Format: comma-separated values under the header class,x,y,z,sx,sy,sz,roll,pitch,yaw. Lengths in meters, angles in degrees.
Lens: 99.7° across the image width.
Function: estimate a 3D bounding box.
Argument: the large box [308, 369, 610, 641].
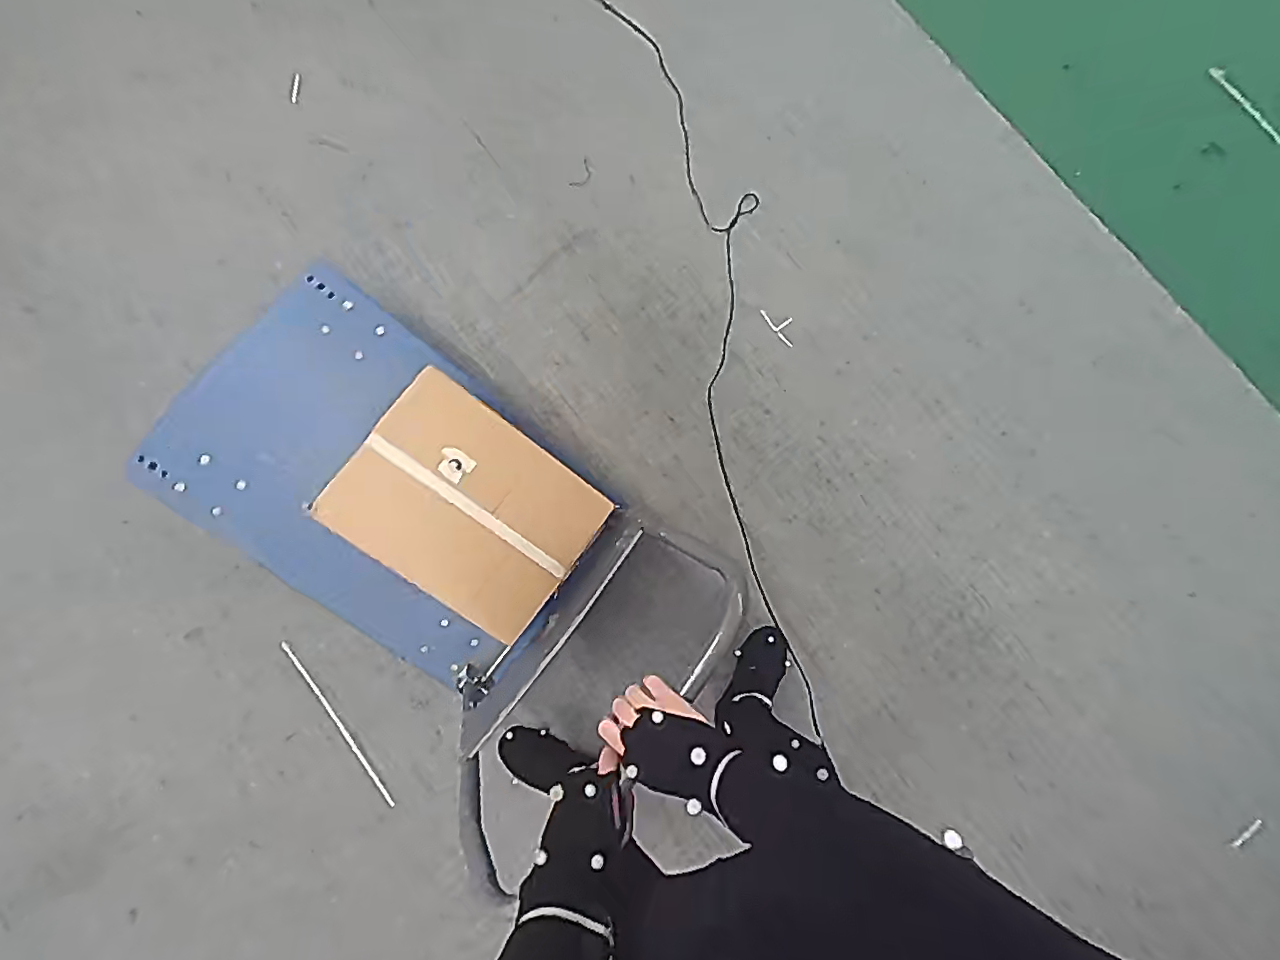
class,x,y,z,sx,sy,sz,roll,pitch,yaw
large box,-0.325,0.046,1.068,0.408,0.320,0.320,37,82,-12
